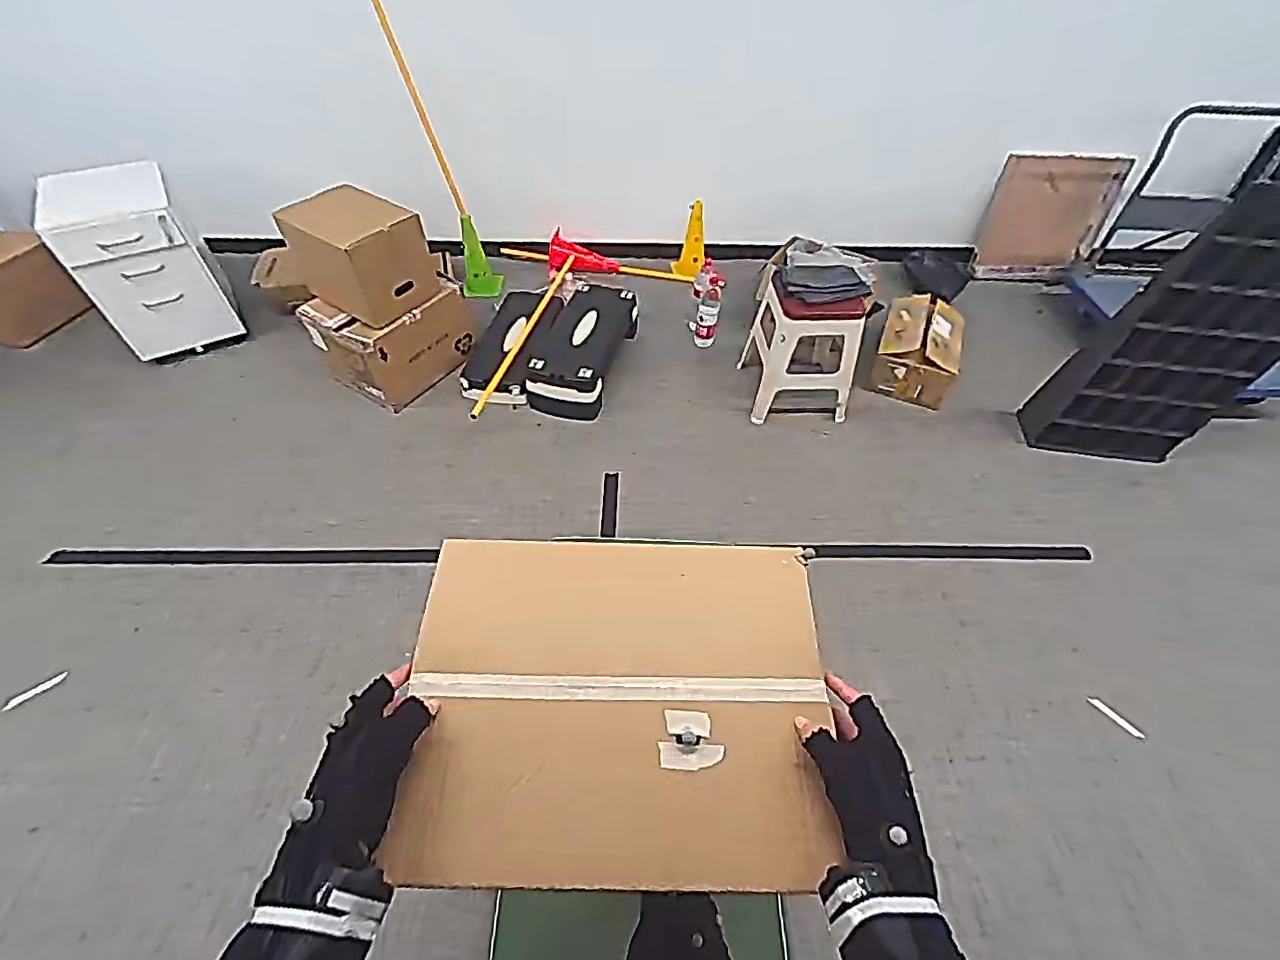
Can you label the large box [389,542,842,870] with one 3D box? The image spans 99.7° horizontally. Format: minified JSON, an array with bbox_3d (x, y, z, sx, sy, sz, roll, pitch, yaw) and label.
[{"bbox_3d":[-0.026,0.287,0.672,0.408,0.320,0.320,2,57,-1],"label":"large box"}]
